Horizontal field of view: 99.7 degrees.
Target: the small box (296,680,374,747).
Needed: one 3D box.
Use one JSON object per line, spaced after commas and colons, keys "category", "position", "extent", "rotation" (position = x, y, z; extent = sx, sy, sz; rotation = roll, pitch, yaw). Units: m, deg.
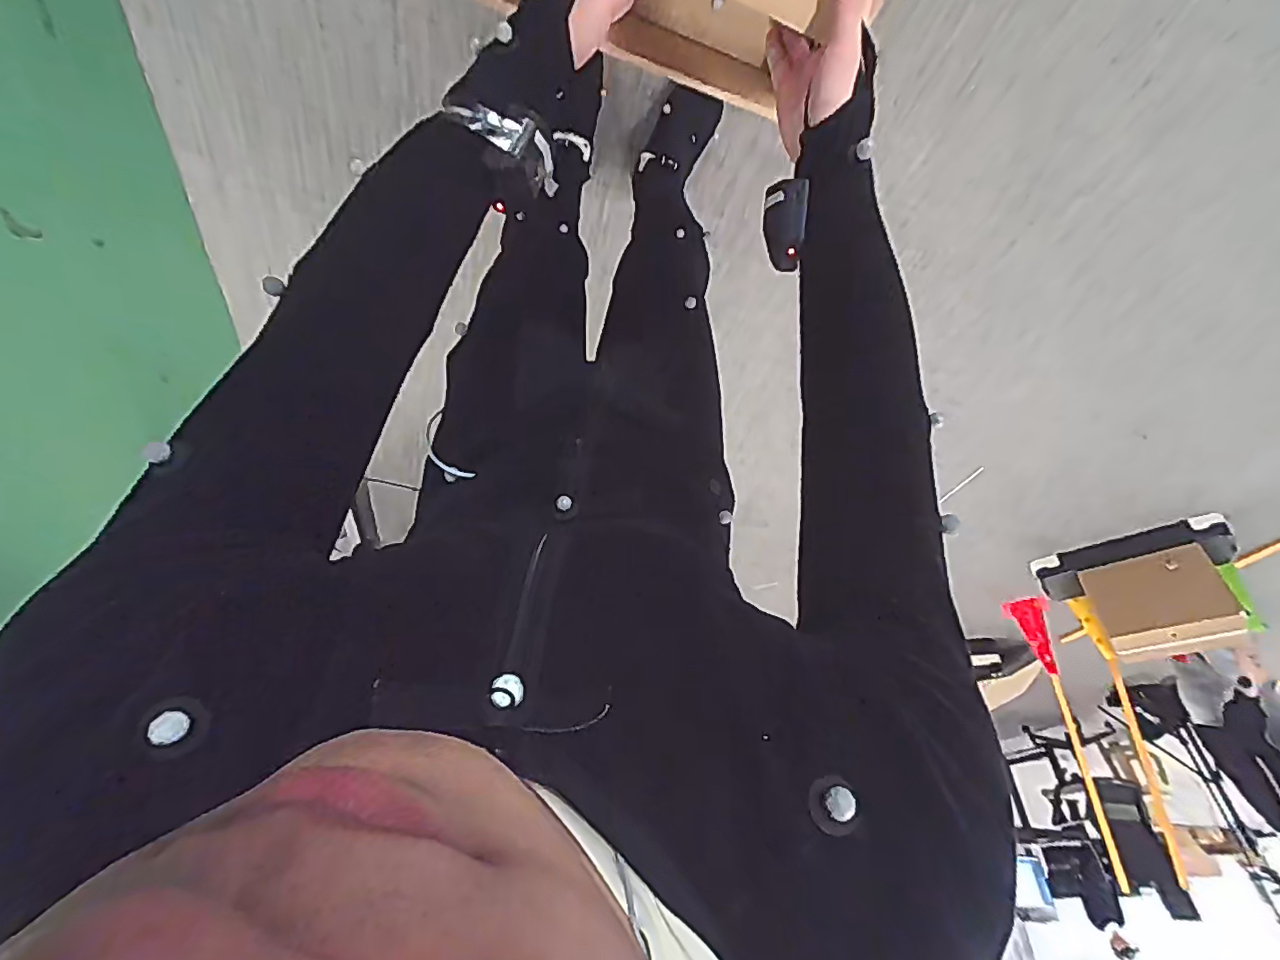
{"category": "small box", "position": [-1.028, 0.792, 1.839], "extent": [0.179, 0.176, 0.168], "rotation": [11, 141, -12]}
